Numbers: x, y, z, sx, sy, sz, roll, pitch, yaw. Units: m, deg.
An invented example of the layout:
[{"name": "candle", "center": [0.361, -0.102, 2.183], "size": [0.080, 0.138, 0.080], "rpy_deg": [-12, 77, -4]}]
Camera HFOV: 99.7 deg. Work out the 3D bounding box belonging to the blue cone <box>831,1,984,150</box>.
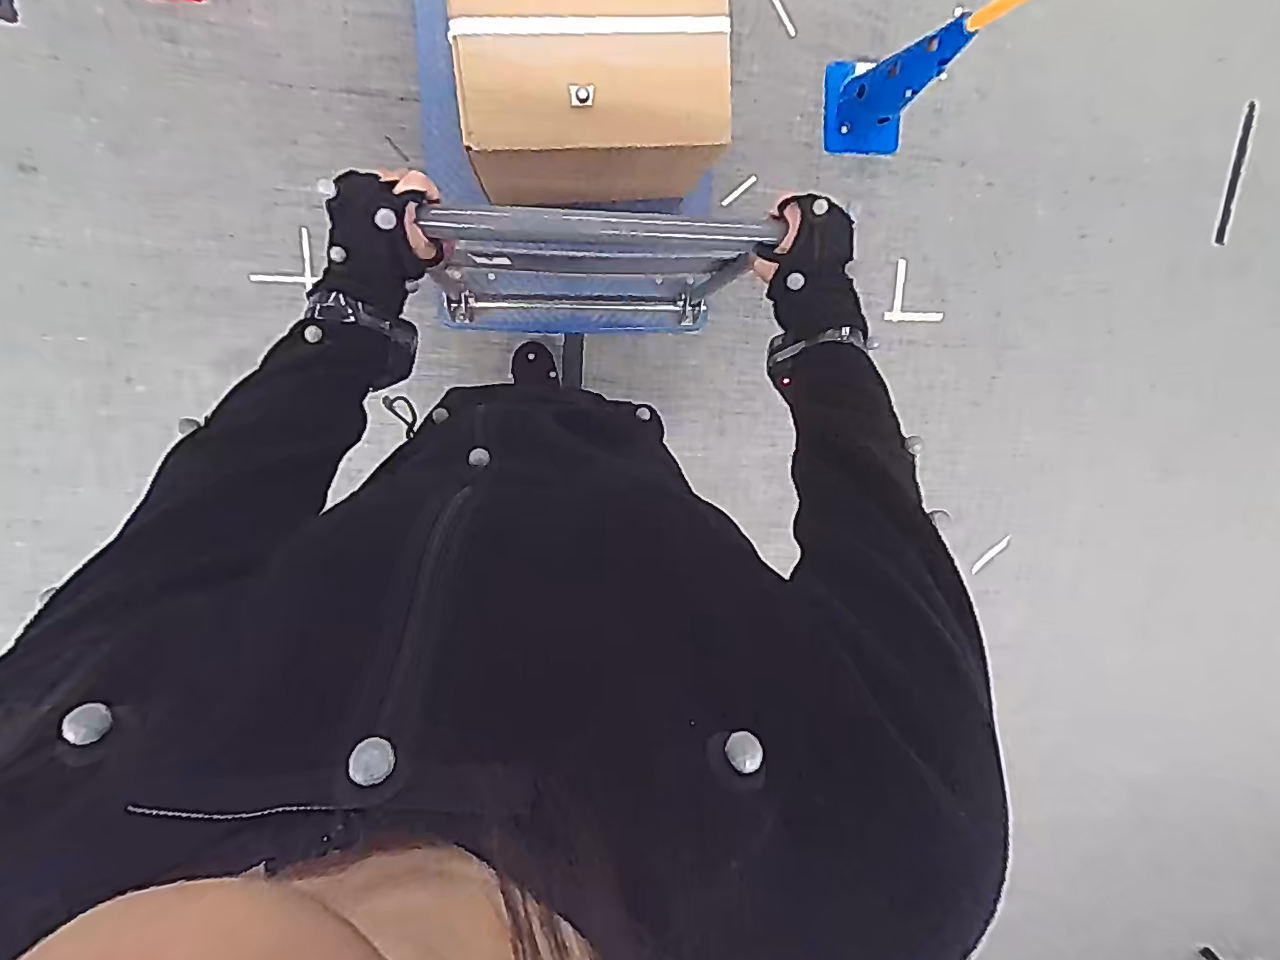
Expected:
[{"name": "blue cone", "center": [0.581, -0.879, 1.163], "size": [0.193, 0.380, 0.192], "rpy_deg": [-3, 102, -9]}]
